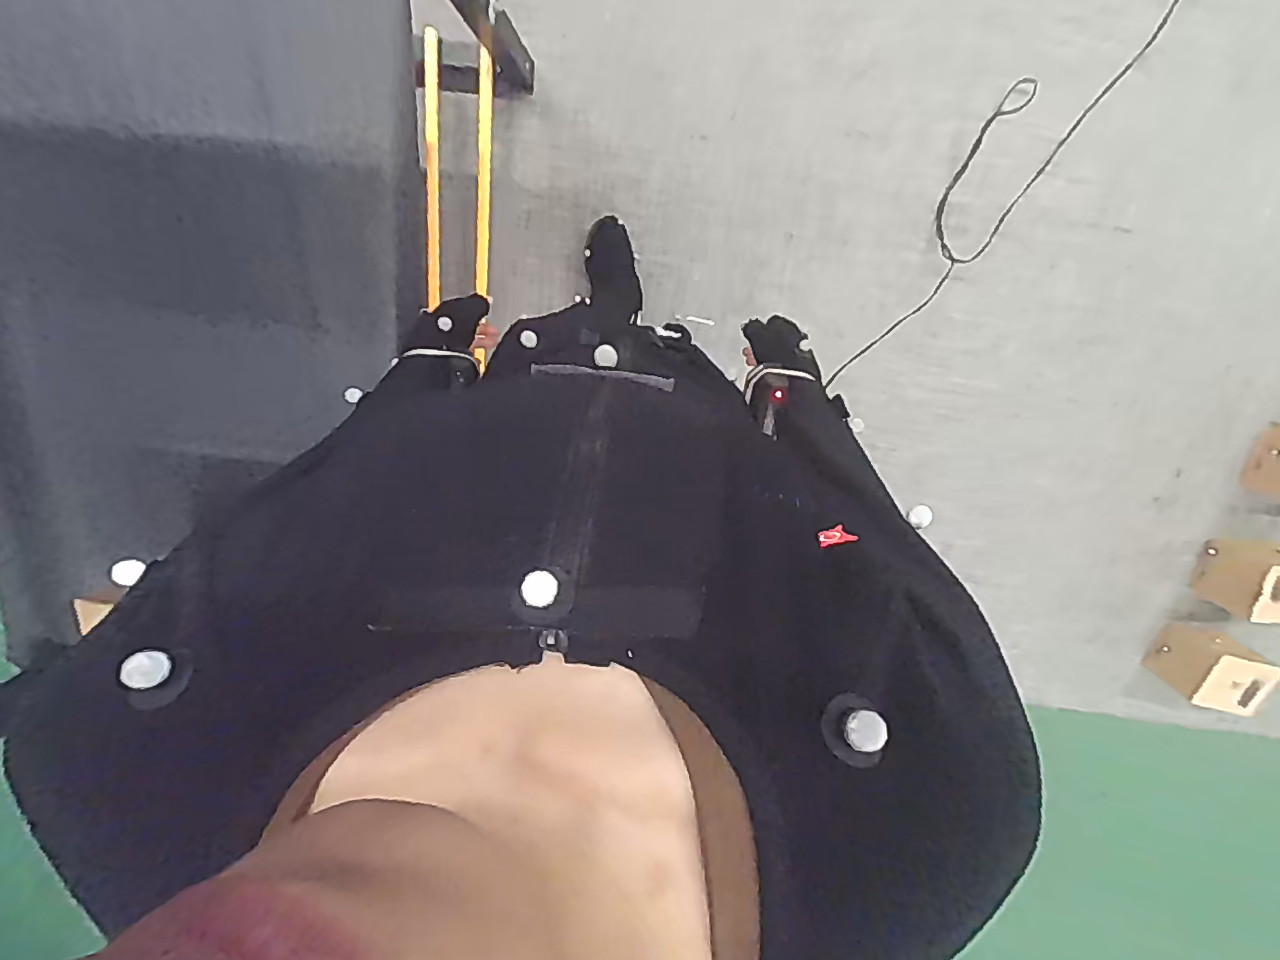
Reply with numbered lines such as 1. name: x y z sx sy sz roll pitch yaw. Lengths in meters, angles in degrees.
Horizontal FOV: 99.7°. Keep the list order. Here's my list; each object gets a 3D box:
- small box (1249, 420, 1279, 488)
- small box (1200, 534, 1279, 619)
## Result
1. small box: 1.674 -0.050 1.309 0.179 0.176 0.168 5 109 3
2. small box: 1.647 0.249 1.414 0.179 0.176 0.168 0 110 3
